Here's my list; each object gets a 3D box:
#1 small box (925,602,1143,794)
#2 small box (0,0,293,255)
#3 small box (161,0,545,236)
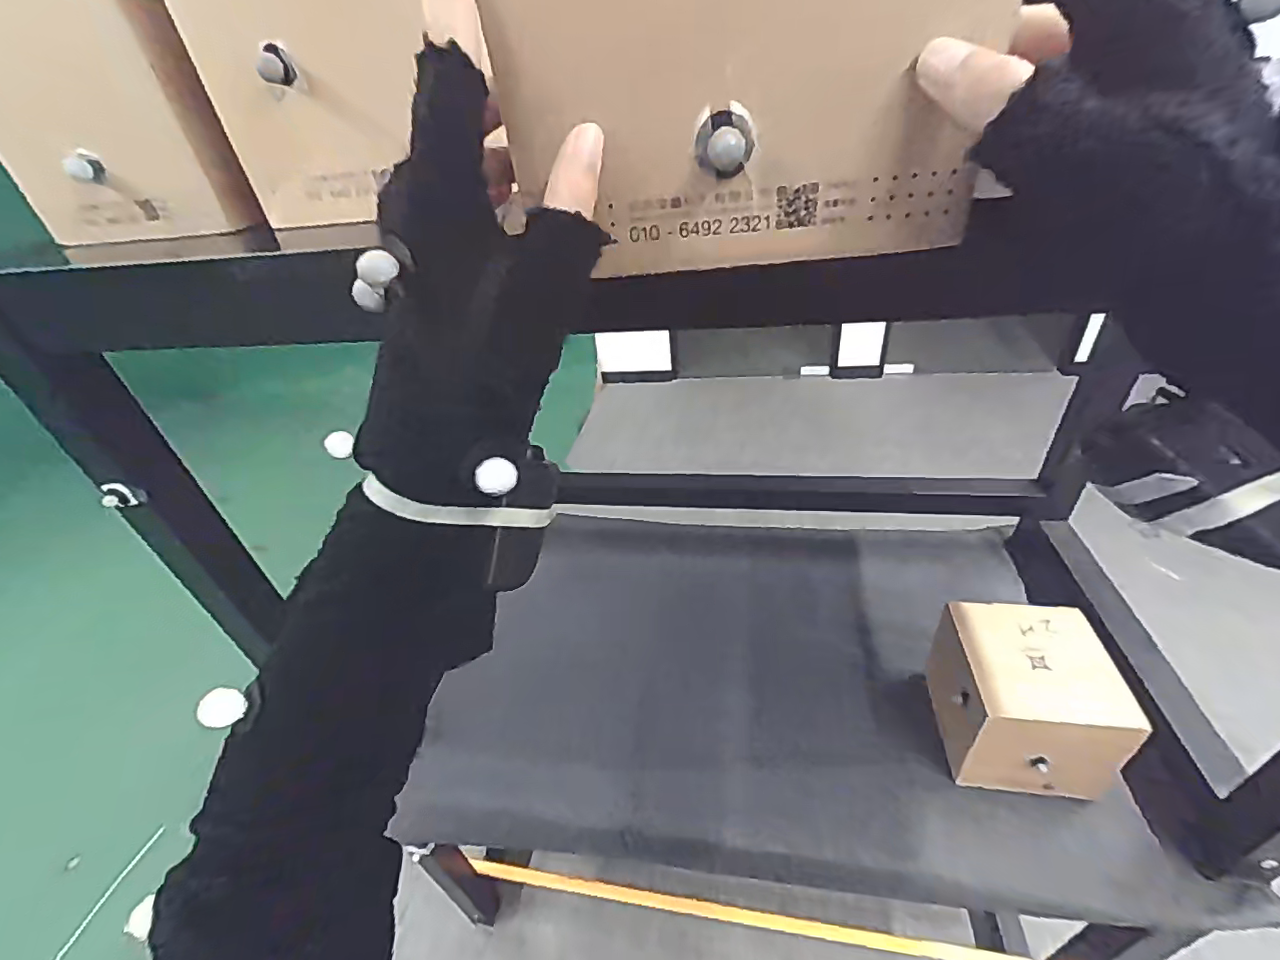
[{"bbox_3d":[0.503,0.289,0.724,0.168,0.176,0.179,1,36,12],"label":"small box"},{"bbox_3d":[-0.377,-0.294,0.443,0.168,0.176,0.179,0,38,11],"label":"small box"},{"bbox_3d":[-0.184,-0.289,0.406,0.168,0.176,0.179,1,36,12],"label":"small box"}]
